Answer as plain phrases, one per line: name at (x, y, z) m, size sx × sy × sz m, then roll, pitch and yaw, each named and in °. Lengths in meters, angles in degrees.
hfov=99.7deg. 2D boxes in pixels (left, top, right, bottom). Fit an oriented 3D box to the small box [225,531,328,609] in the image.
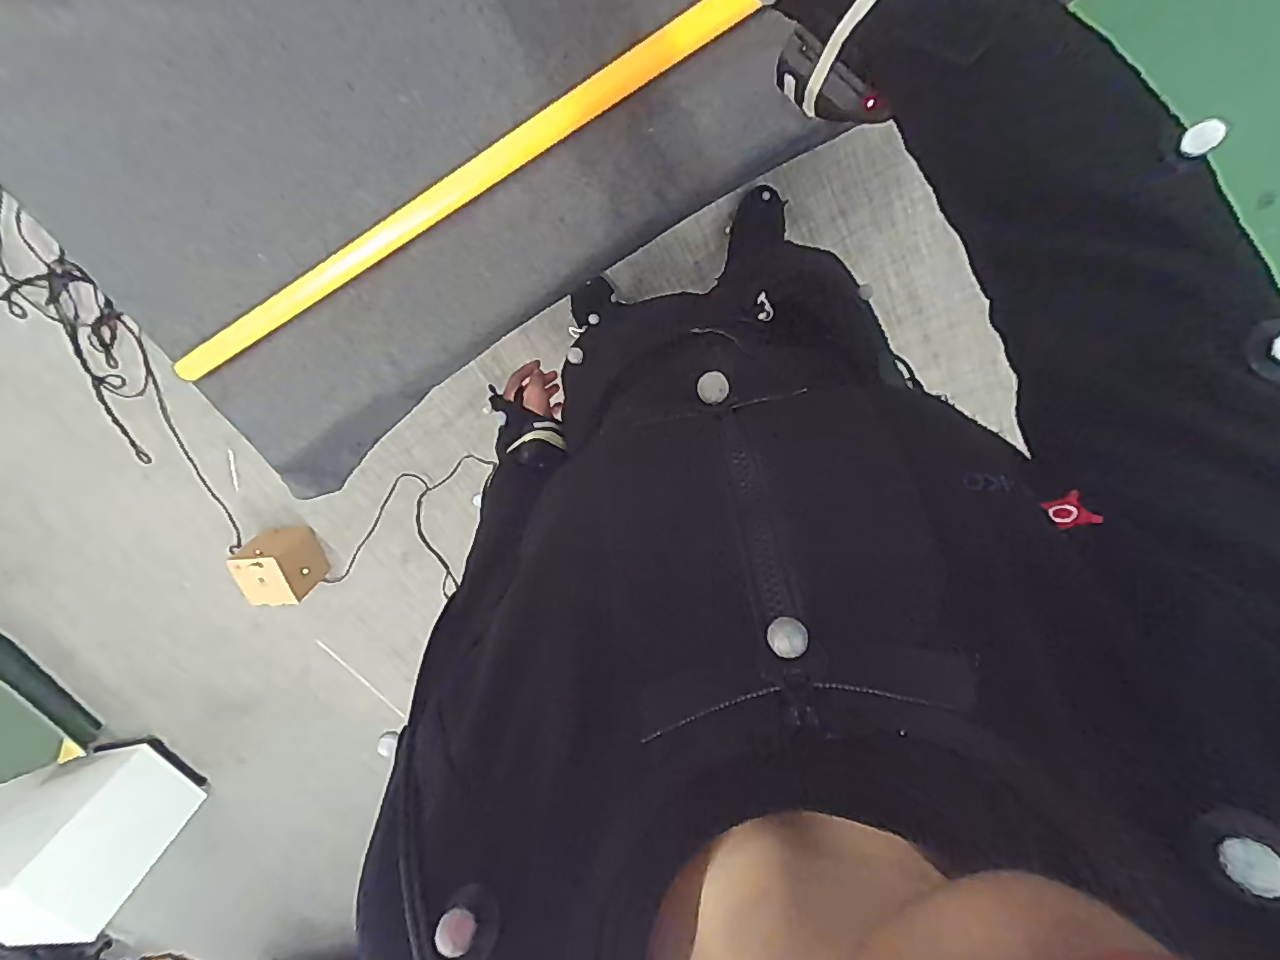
small box at (-1.109, 0.276, 1.667) m, size 0.168 × 0.176 × 0.179 m, roll -4°, pitch 118°, yaw 9°
